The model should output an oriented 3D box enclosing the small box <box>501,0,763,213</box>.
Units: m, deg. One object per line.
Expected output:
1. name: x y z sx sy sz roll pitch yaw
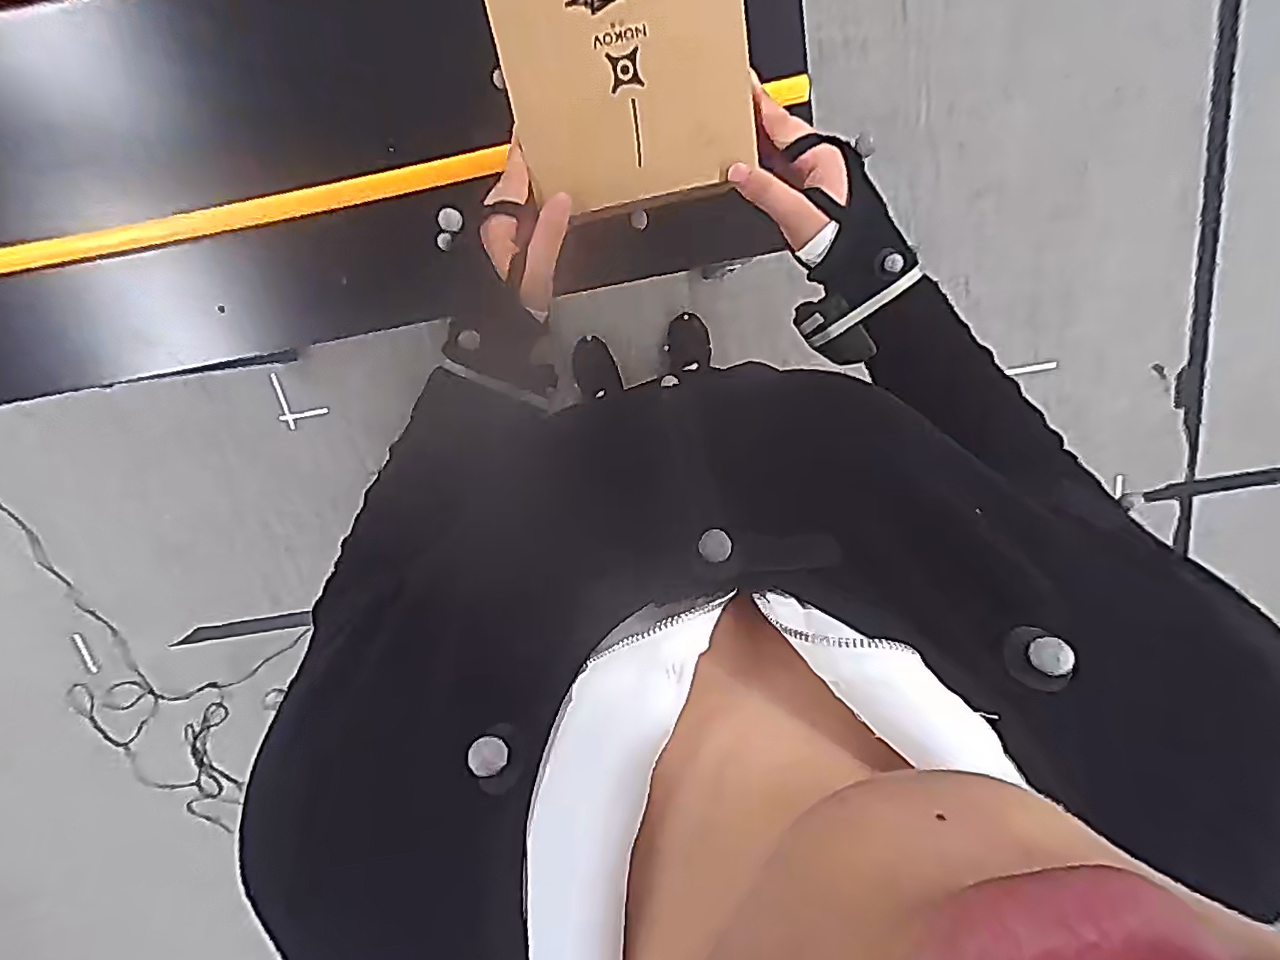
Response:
1. small box: -0.009 -0.328 0.434 0.168 0.176 0.179 -11 114 3
